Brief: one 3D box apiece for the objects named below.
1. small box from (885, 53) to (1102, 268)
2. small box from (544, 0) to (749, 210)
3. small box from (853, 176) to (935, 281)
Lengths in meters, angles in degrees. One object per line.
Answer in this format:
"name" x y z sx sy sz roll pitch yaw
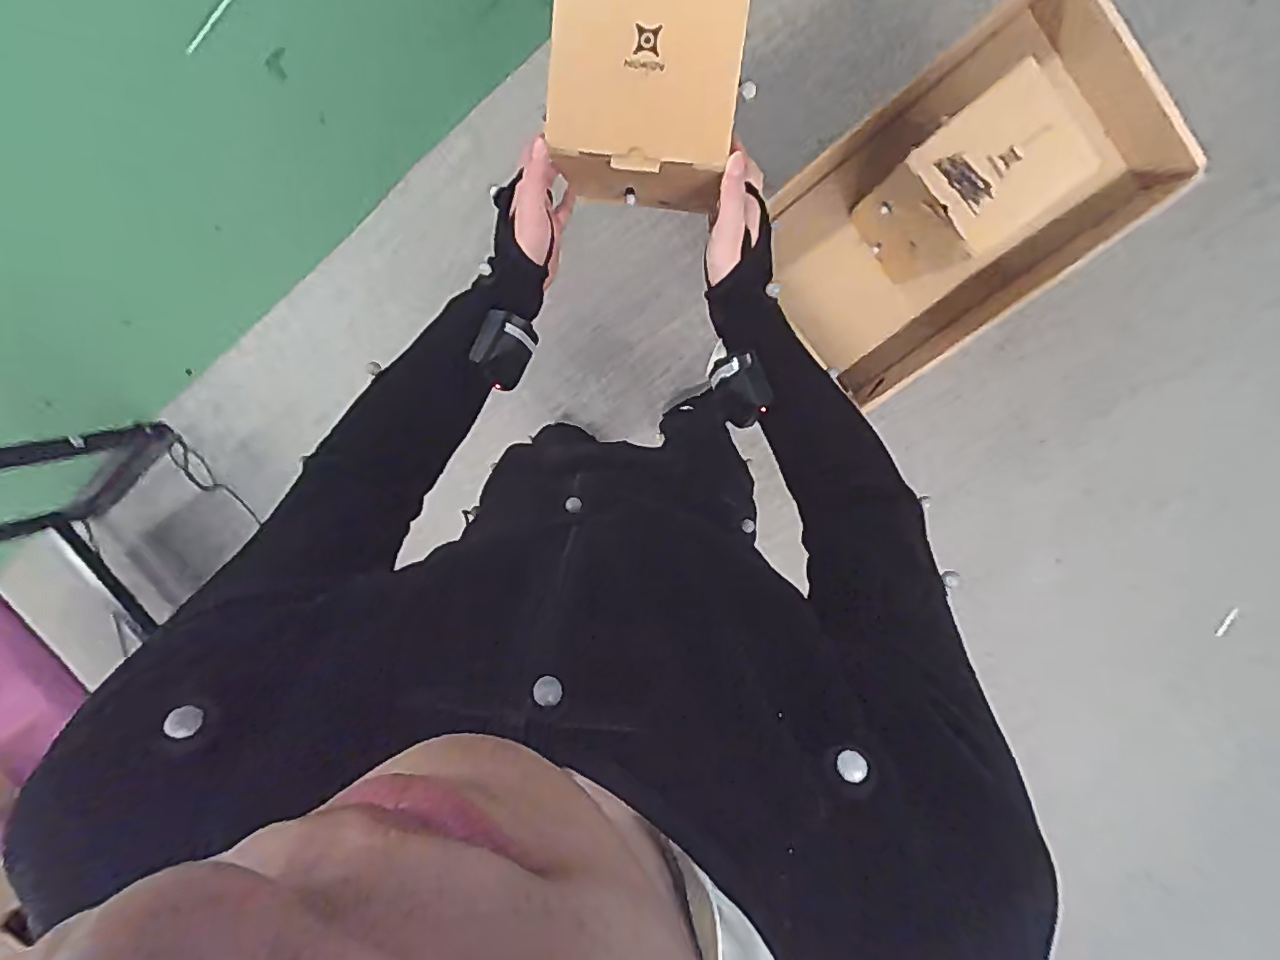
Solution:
"small box" 0.475 -0.429 0.766 0.179 0.176 0.168 -38 96 14
"small box" 0.008 -0.384 0.530 0.168 0.176 0.179 6 106 2
"small box" 0.497 -0.468 0.924 0.179 0.176 0.168 -36 96 14
